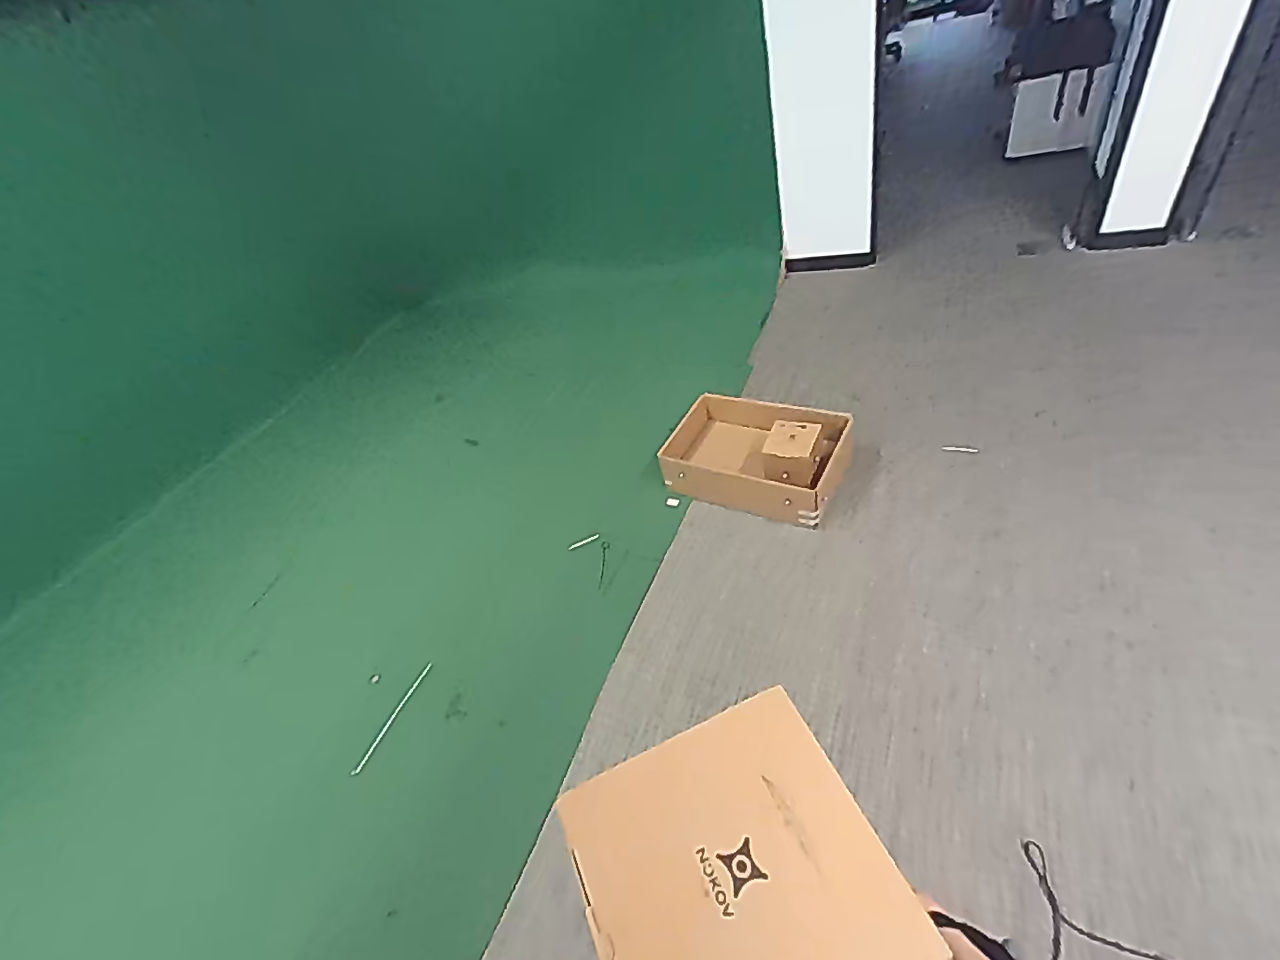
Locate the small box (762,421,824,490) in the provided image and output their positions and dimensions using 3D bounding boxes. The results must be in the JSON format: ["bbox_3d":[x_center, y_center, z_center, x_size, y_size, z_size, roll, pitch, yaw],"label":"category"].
[{"bbox_3d":[0.549,-0.086,1.921,0.168,0.176,0.179,10,52,30],"label":"small box"}]

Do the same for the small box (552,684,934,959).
[{"bbox_3d":[0.057,0.283,0.383,0.179,0.176,0.168,-20,51,-14],"label":"small box"}]
